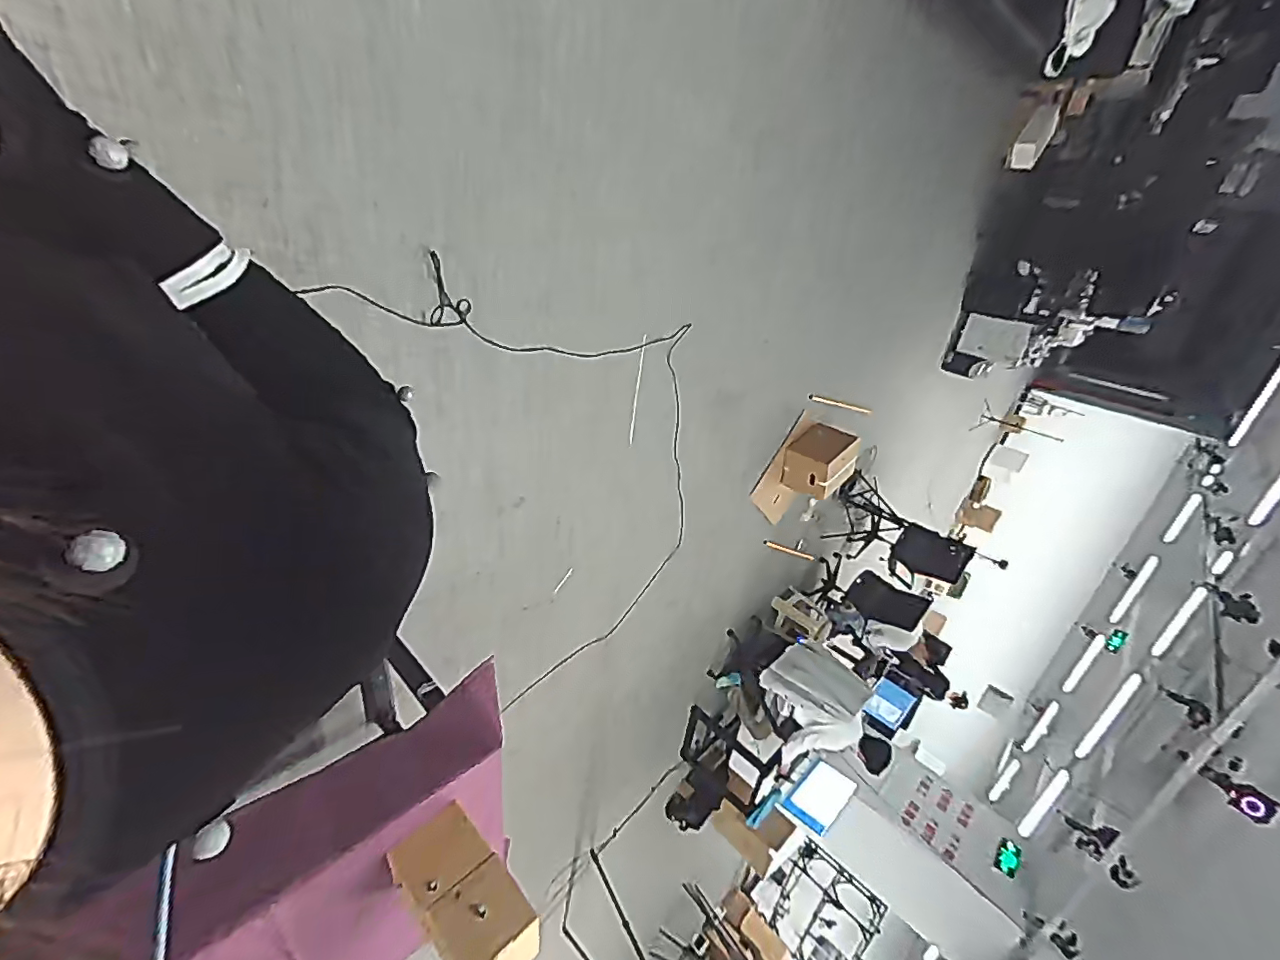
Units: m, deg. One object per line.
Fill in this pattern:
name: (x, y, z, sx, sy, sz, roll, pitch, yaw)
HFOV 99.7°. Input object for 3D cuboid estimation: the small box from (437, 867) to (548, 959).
small box: (-0.313, 0.974, 1.146, 0.168, 0.176, 0.179, -22, 129, -39)

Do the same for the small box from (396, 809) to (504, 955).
small box: (-0.431, 0.907, 1.239, 0.179, 0.176, 0.168, -22, 129, -39)
